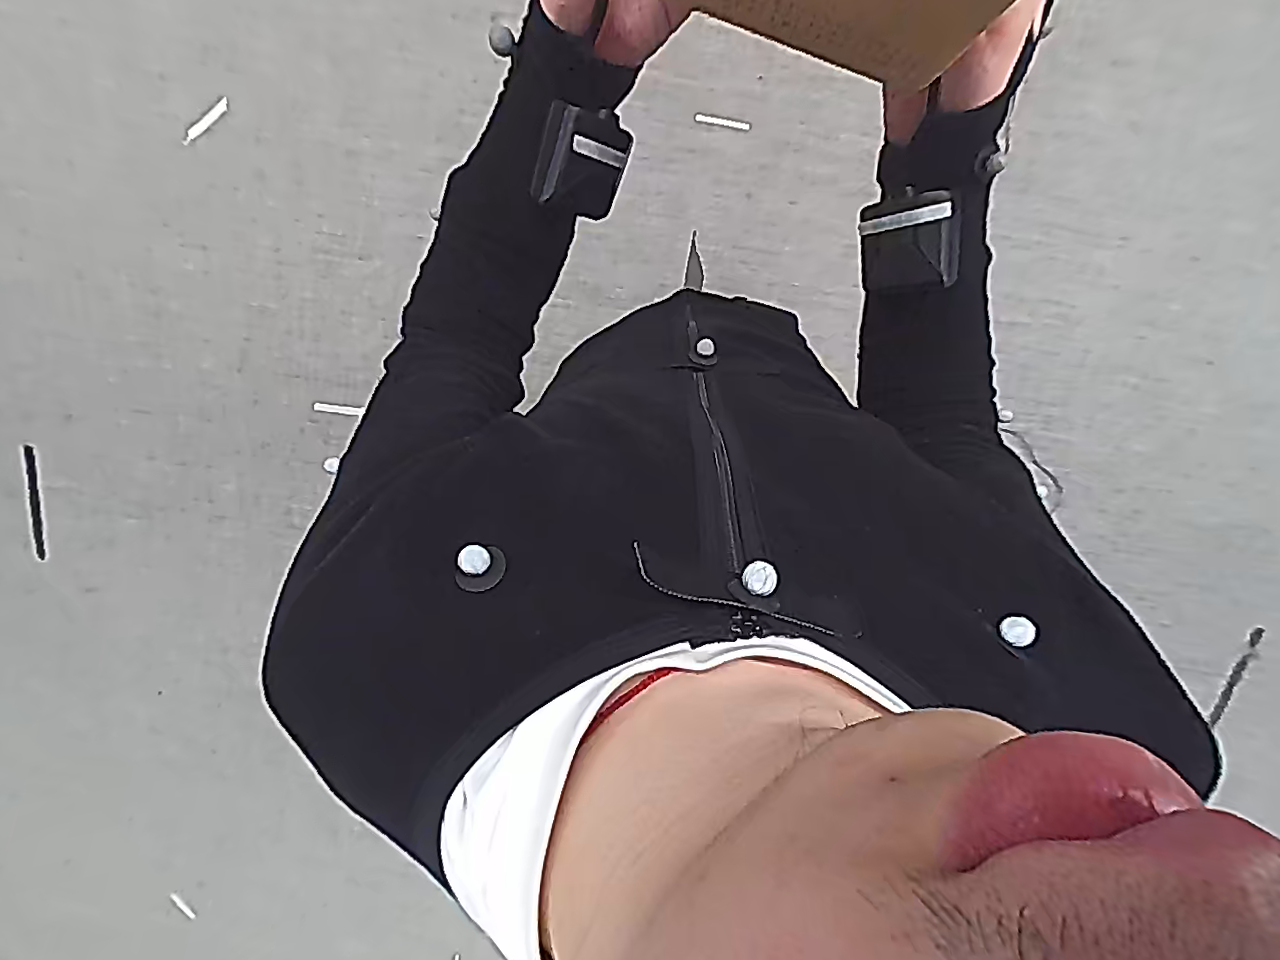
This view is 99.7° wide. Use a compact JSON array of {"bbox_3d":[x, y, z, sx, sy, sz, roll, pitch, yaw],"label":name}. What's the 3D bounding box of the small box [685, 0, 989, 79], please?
[{"bbox_3d":[0.100,-0.303,0.209,0.179,0.176,0.168,17,102,-5],"label":"small box"}]
